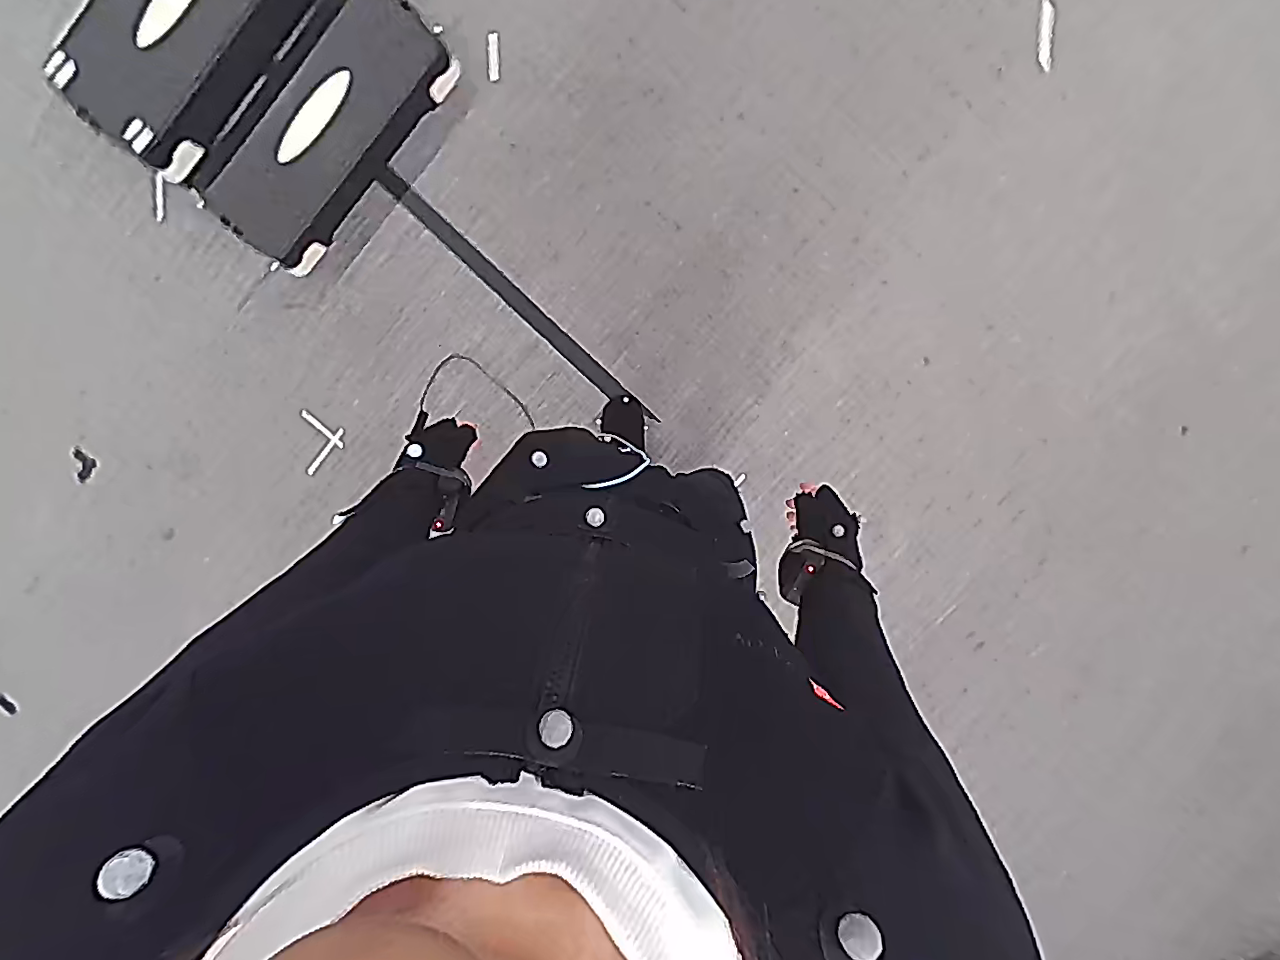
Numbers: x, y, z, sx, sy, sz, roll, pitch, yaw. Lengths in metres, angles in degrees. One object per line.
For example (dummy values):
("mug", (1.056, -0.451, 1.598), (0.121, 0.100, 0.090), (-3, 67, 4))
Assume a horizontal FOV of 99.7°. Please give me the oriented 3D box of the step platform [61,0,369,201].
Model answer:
("step platform", (-0.943, -1.002, 1.220), (0.286, 0.204, 0.684), (41, 96, -5))
